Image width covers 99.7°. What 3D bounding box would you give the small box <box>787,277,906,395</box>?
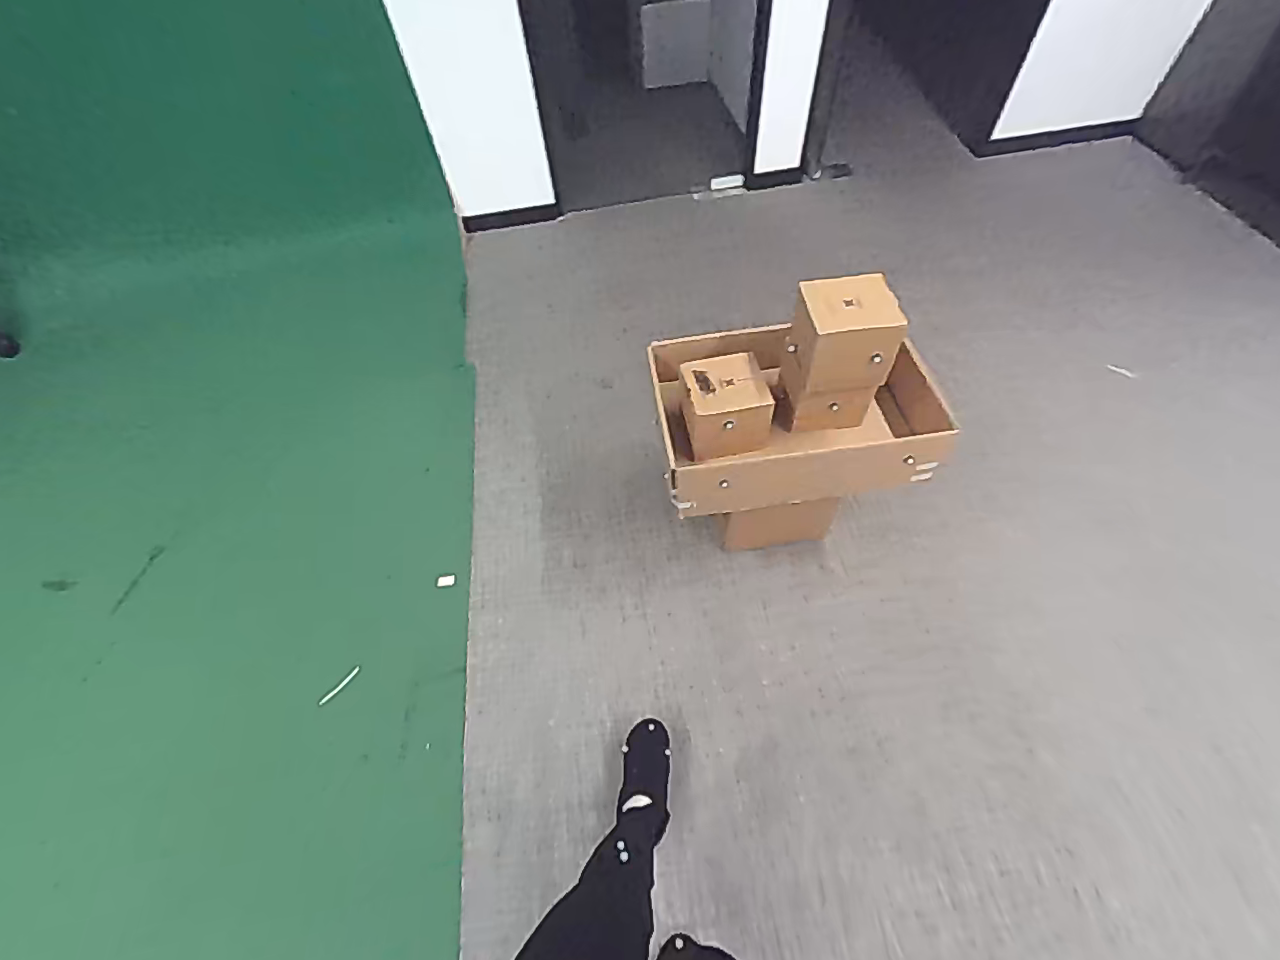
[{"bbox_3d":[0.423,-0.298,1.138,0.179,0.176,0.168,-6,55,2],"label":"small box"}]
